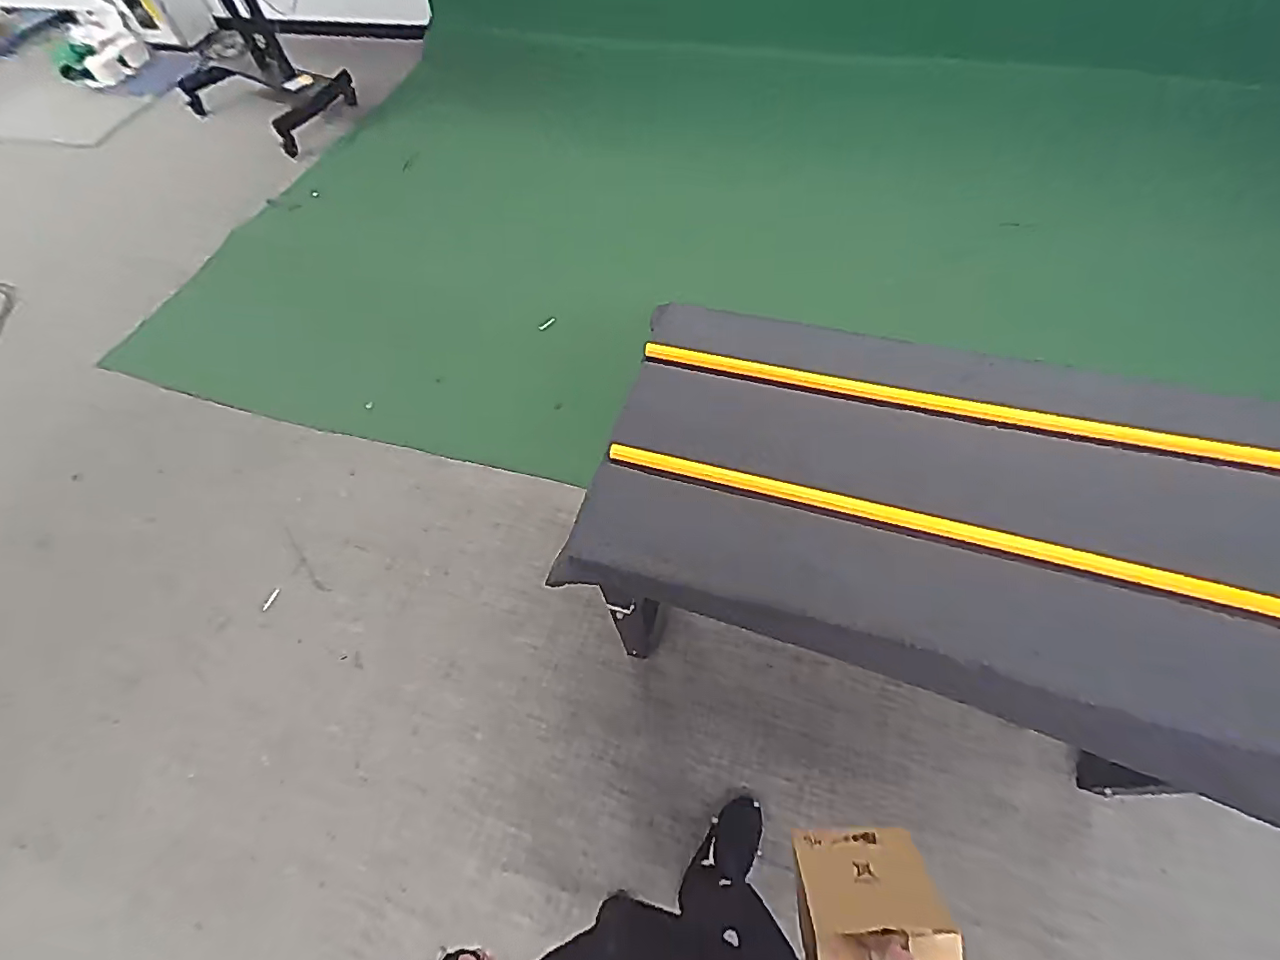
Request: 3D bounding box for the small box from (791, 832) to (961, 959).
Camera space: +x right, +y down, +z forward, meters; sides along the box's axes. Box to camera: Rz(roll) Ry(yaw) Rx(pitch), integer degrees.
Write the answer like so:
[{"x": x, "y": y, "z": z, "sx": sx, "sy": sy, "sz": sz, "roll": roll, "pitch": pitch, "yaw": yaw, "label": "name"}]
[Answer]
[{"x": 0.310, "y": 0.611, "z": 0.711, "sx": 0.168, "sy": 0.179, "sz": 0.176, "roll": -9, "pitch": 91, "yaw": 4, "label": "small box"}]
